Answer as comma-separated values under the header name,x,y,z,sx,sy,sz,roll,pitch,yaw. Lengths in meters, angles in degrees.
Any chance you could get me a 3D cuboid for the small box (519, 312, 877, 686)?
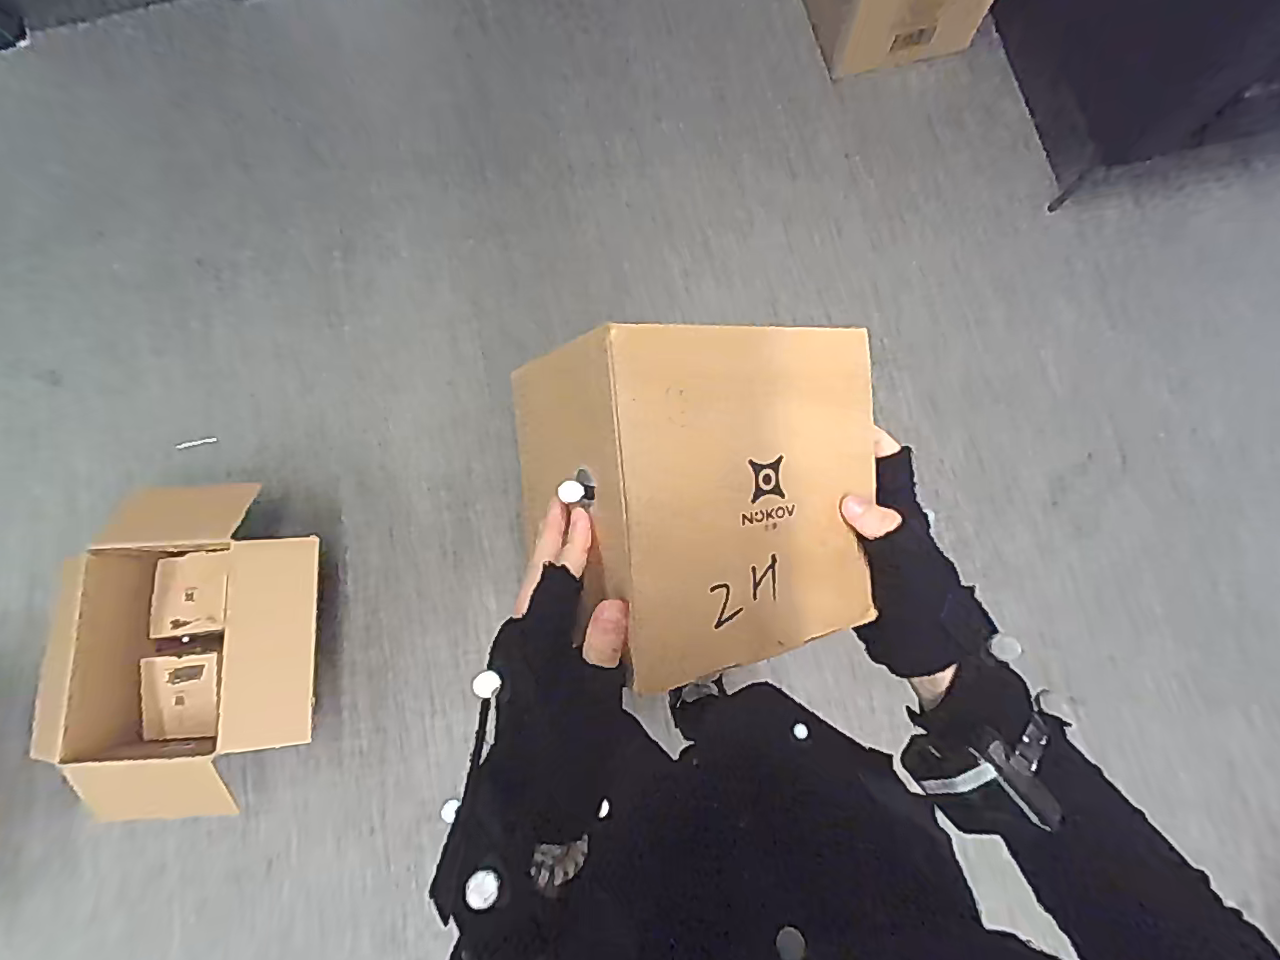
name,x,y,z,sx,sy,sz,roll,pitch,yaw
small box,0.027,0.001,0.353,0.168,0.176,0.179,-7,96,-27
